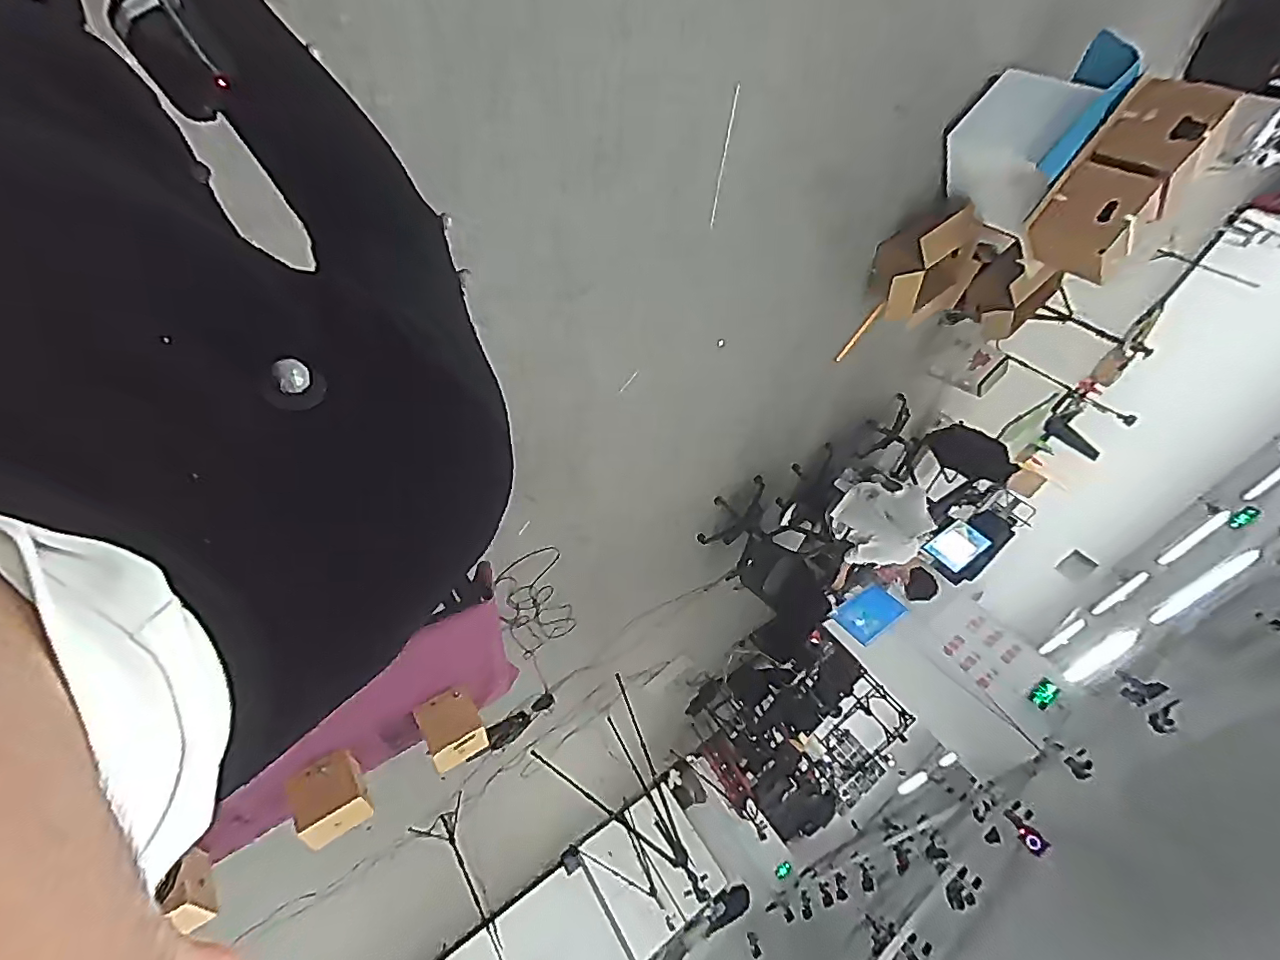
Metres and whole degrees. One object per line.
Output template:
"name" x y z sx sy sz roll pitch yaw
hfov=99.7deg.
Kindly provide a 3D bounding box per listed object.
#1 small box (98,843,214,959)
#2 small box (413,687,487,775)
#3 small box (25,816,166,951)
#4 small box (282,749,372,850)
"small box" -1.222 1.063 1.368 0.168 0.176 0.179 -24 143 -29
"small box" -0.608 0.794 1.728 0.168 0.176 0.179 -23 143 -28
"small box" -1.186 0.878 1.186 0.168 0.176 0.179 -23 144 -31
"small box" -0.898 0.914 1.555 0.168 0.176 0.179 -23 142 -30
